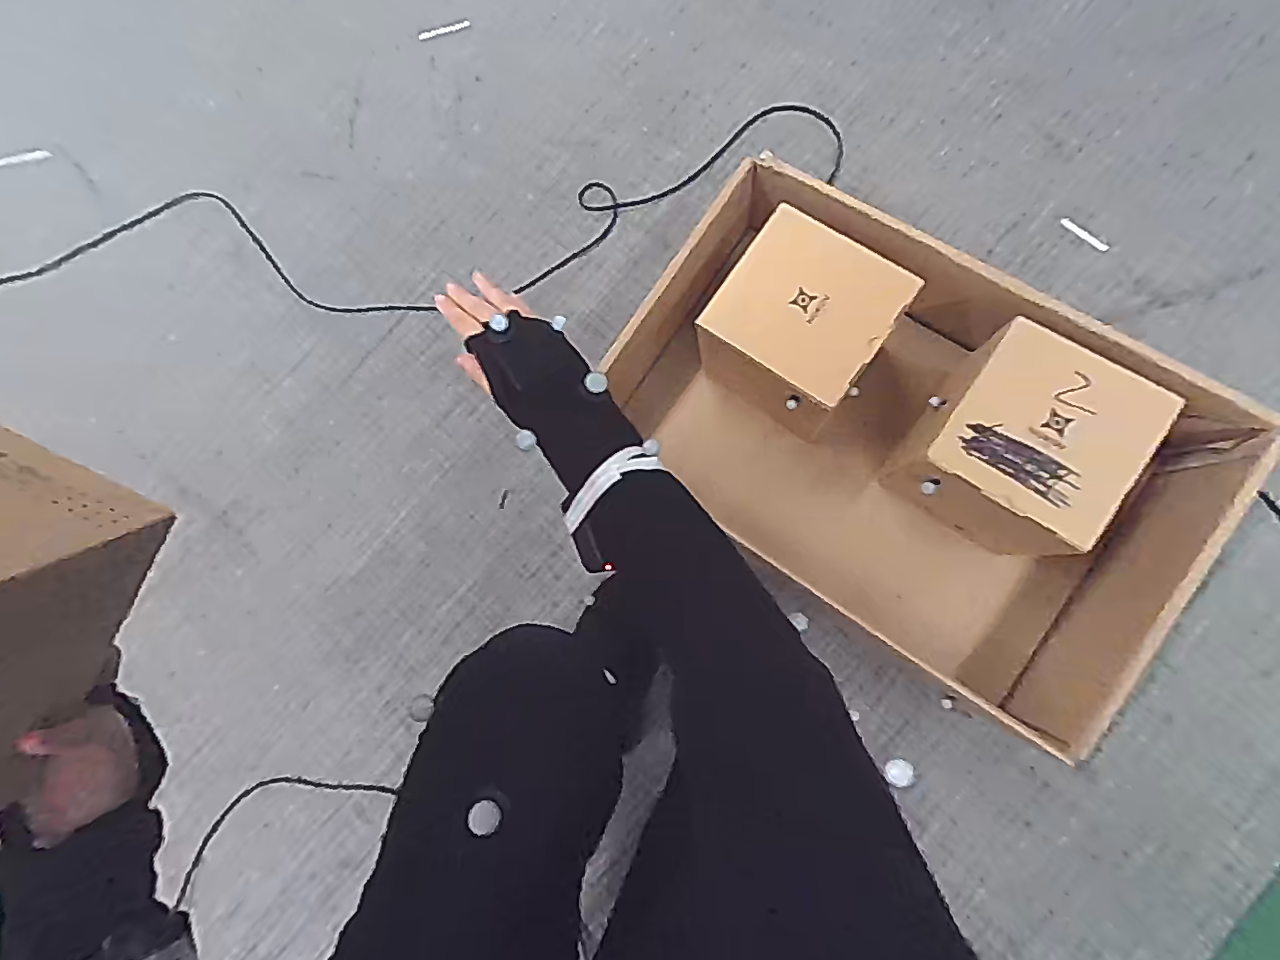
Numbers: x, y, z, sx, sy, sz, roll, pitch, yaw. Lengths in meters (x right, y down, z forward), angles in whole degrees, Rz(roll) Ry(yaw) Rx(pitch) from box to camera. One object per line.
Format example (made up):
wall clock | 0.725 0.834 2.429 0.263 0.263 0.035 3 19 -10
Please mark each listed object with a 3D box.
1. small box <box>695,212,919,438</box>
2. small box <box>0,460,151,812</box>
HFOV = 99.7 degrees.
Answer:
small box | 0.184 -0.170 0.649 0.179 0.176 0.168 35 89 11
small box | -0.338 0.071 0.189 0.168 0.176 0.179 32 99 -11
